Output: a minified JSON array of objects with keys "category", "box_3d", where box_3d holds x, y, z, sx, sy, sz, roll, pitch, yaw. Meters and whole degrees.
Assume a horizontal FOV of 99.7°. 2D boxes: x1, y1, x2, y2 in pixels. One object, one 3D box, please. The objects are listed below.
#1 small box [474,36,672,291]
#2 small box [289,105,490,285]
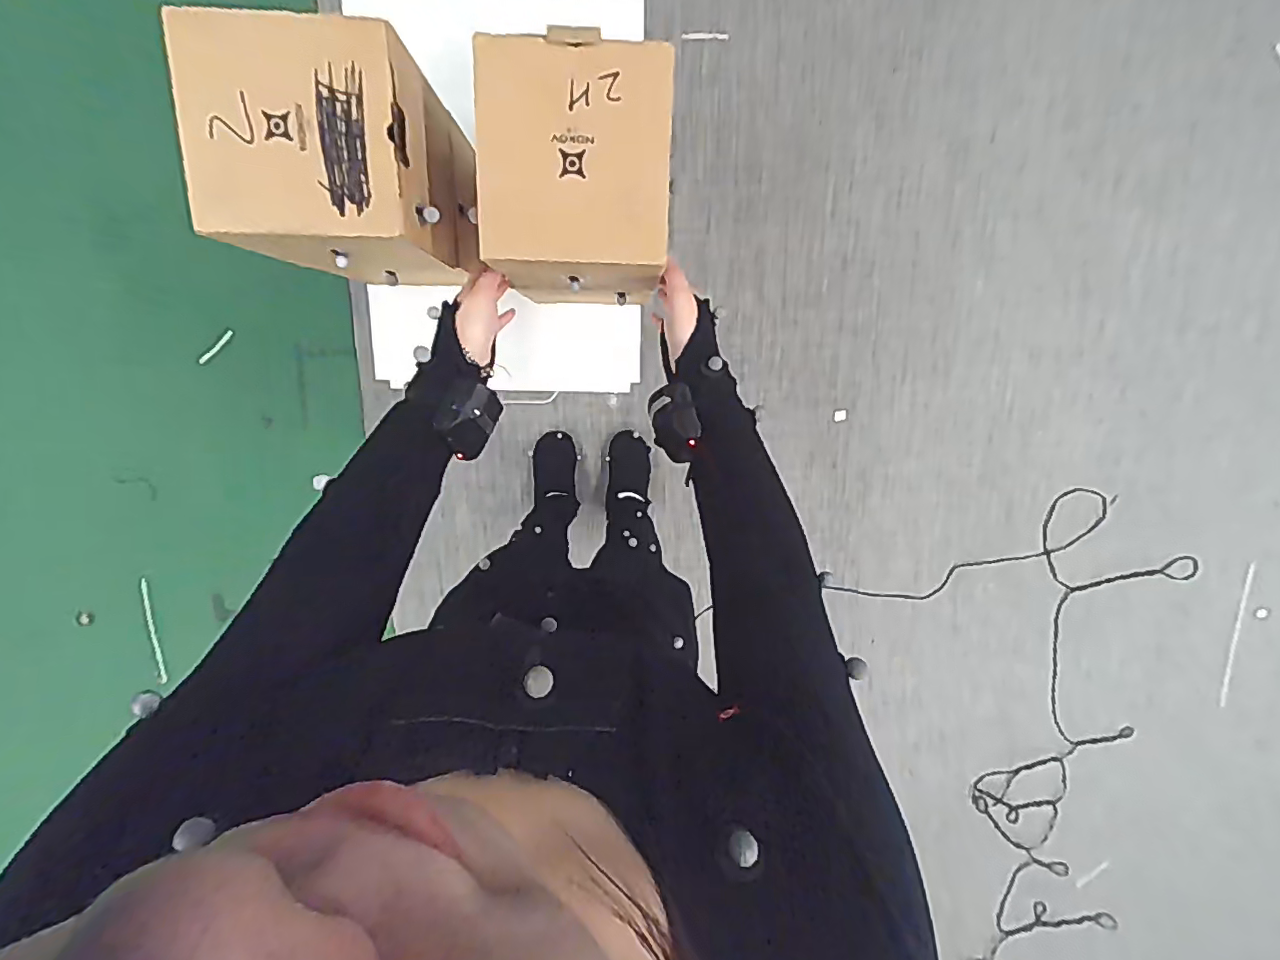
[{"category":"small box","box_3d":[-0.061,-0.290,0.538,0.168,0.176,0.179,1,102,-3]},{"category":"small box","box_3d":[-0.299,-0.344,0.684,0.179,0.176,0.168,-1,103,-3]}]
